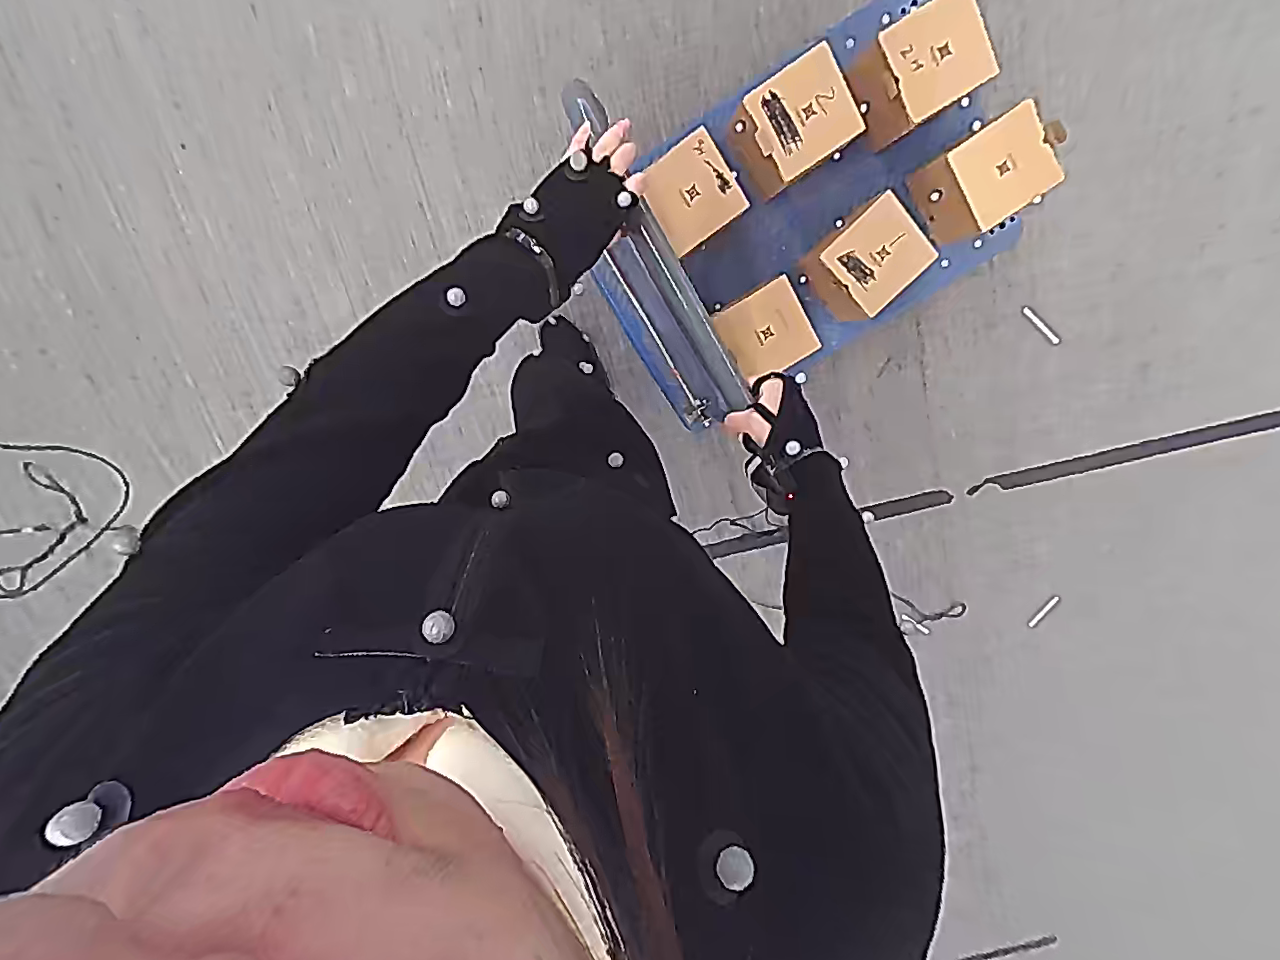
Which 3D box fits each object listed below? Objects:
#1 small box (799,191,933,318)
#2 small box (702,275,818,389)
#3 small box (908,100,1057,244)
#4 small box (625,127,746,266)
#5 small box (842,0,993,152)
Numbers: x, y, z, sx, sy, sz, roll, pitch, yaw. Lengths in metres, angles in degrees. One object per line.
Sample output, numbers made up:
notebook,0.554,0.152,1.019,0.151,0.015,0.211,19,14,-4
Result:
small box,0.458,-0.458,1.134,0.179,0.176,0.168,-43,102,8
small box,0.246,-0.314,1.164,0.179,0.176,0.168,-31,104,5
small box,0.681,-0.612,1.103,0.179,0.176,0.168,-34,103,7
small box,0.086,-0.556,1.092,0.179,0.176,0.168,-34,104,7
small box,0.529,-0.783,1.050,0.179,0.176,0.168,-29,104,6
